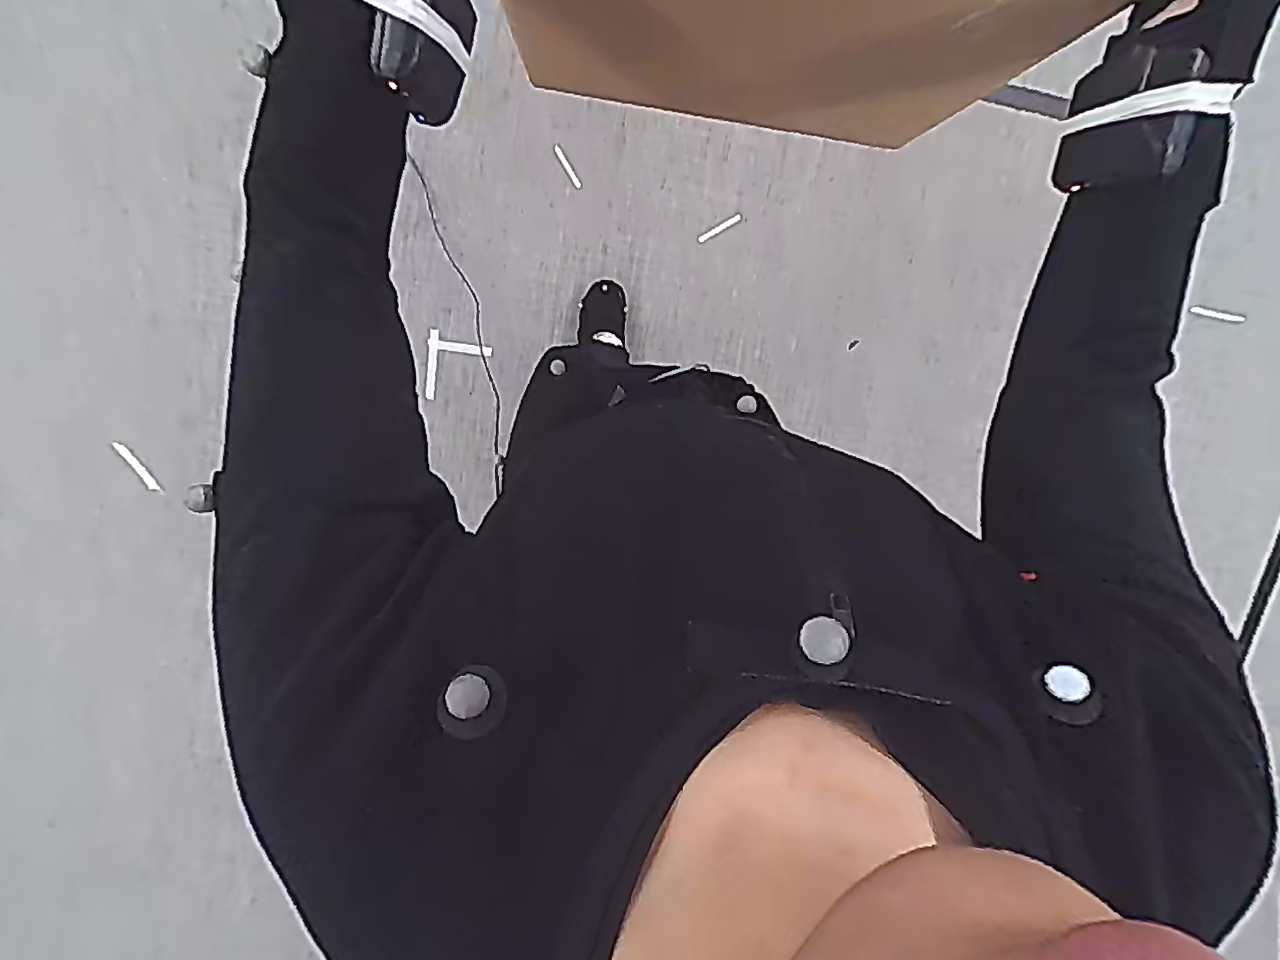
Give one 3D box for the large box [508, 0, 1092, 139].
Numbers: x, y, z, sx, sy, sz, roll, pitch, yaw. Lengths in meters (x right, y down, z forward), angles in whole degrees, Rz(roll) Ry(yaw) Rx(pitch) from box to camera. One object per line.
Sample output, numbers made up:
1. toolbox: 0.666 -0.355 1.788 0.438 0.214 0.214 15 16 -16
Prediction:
1. large box: 0.107 -0.499 0.404 0.408 0.320 0.320 6 107 -5
